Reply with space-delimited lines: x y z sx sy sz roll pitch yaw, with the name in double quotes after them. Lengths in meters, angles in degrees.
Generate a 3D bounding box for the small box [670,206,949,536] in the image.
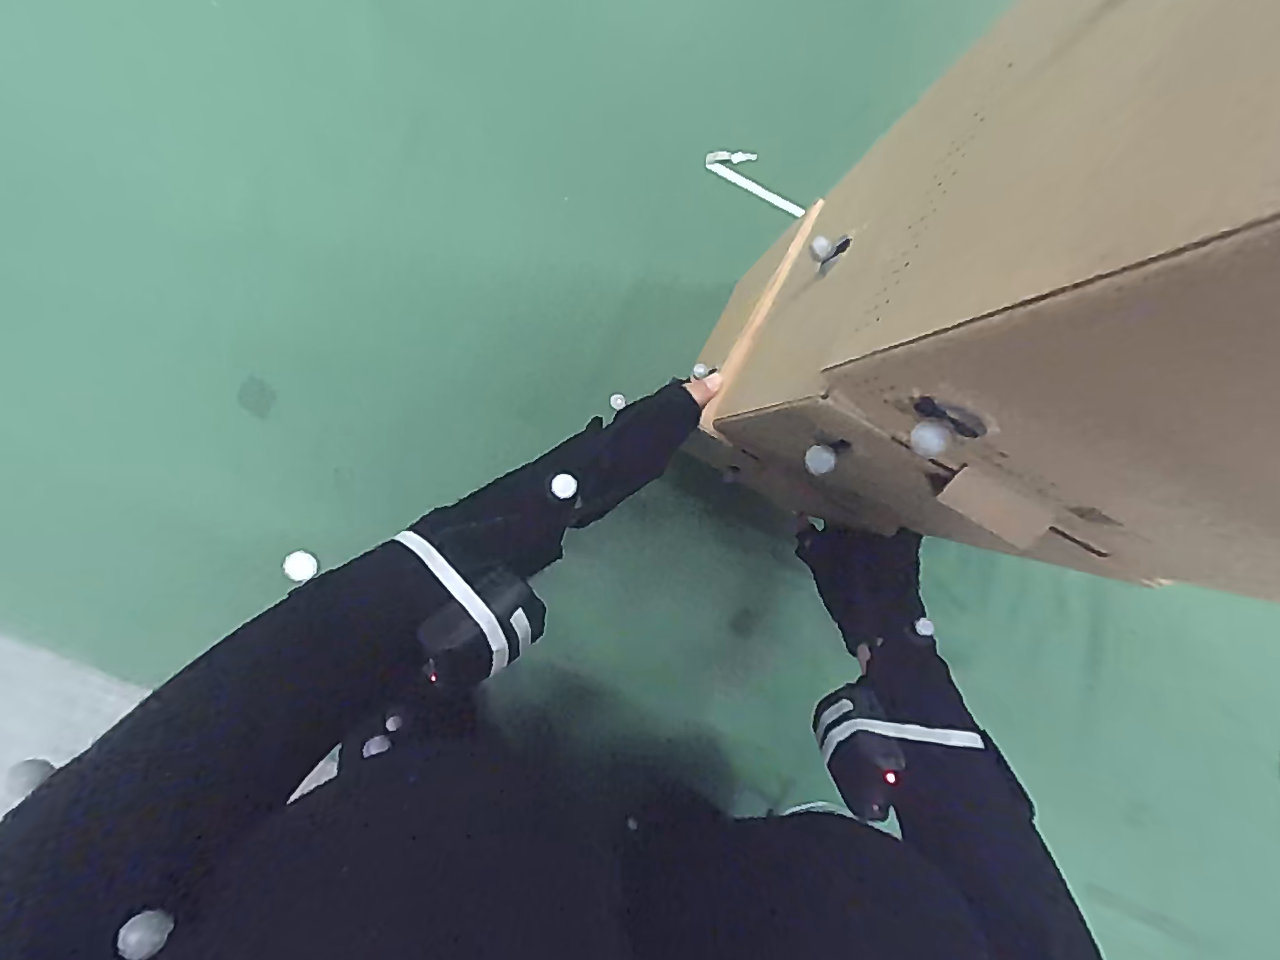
0.139 -0.078 0.453 0.168 0.176 0.179 29 91 -7 "small box"

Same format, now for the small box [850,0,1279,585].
0.180 -0.074 0.126 0.168 0.176 0.179 28 88 -7 "small box"
